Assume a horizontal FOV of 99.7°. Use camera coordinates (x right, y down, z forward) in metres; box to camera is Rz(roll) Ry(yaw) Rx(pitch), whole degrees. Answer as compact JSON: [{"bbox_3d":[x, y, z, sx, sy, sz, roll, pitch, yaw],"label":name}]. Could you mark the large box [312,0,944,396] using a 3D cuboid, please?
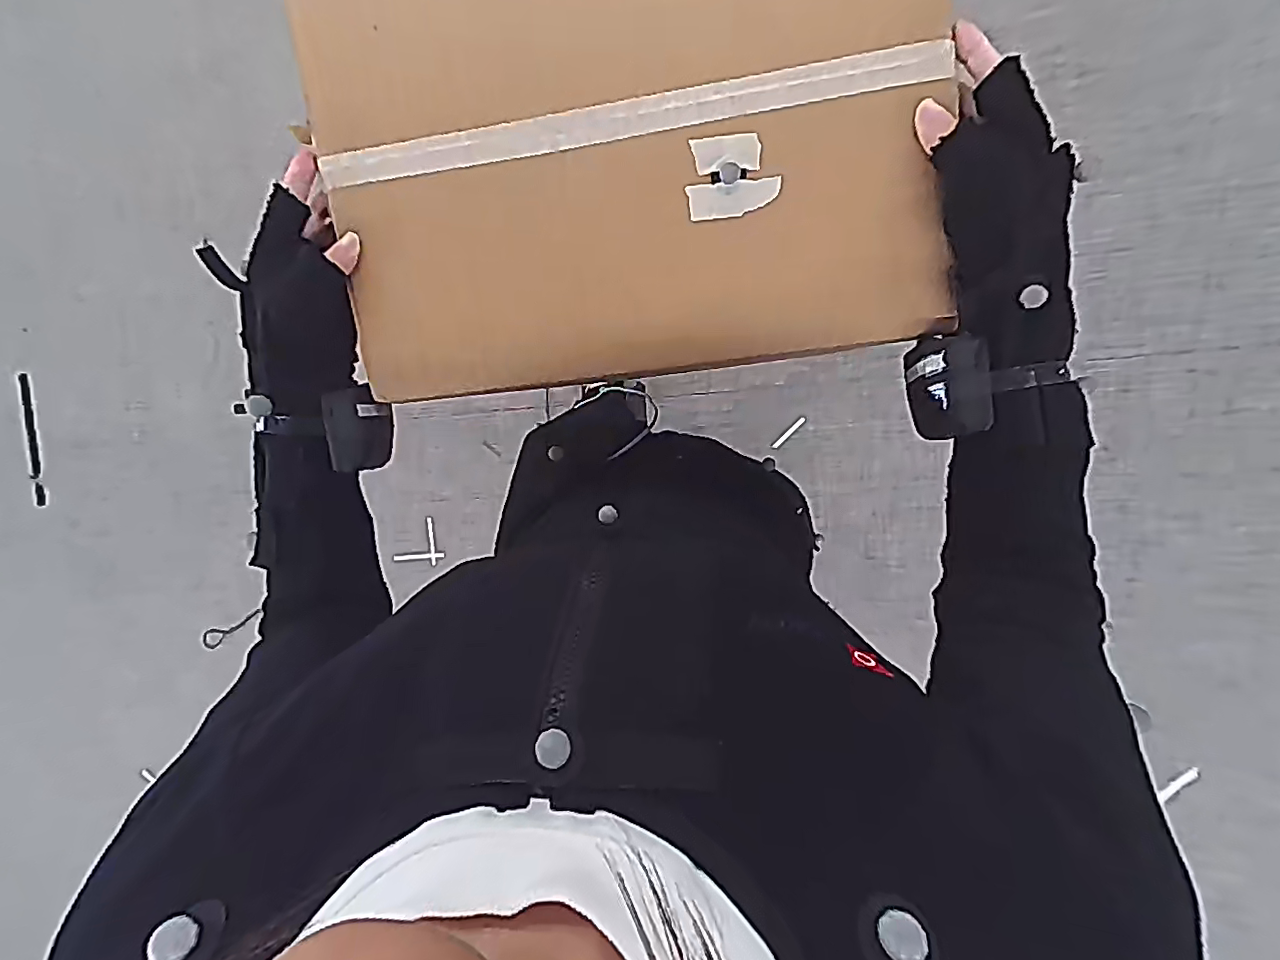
[{"bbox_3d":[0.001,-0.263,0.506,0.408,0.320,0.320,-6,101,6],"label":"large box"}]
